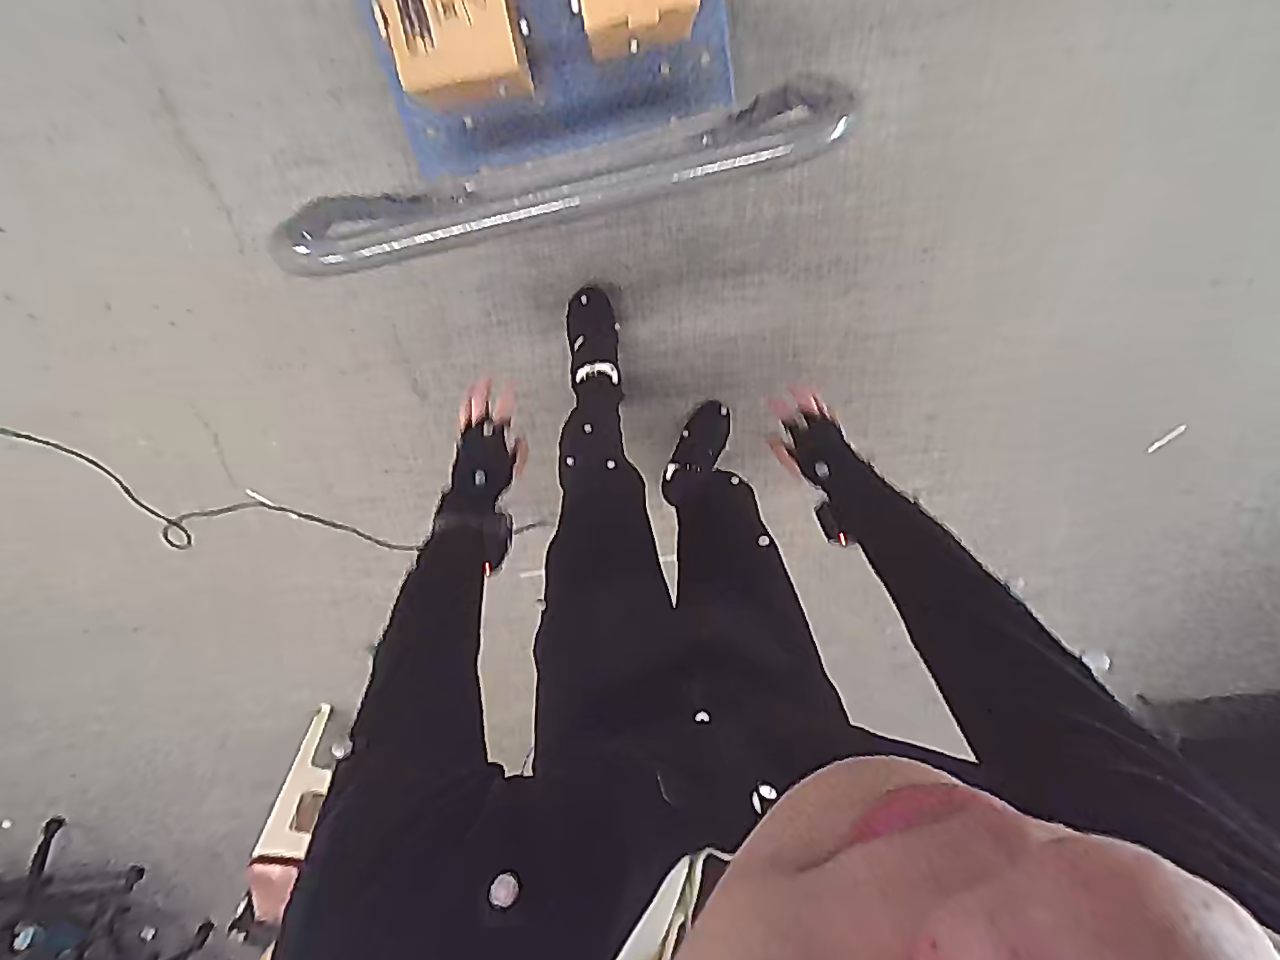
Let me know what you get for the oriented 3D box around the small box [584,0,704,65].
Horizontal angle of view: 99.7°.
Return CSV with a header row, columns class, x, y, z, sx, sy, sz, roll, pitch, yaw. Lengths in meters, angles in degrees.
class,x,y,z,sx,sy,sz,roll,pitch,yaw
small box,-0.007,-0.757,0.801,0.168,0.176,0.179,-11,116,4
